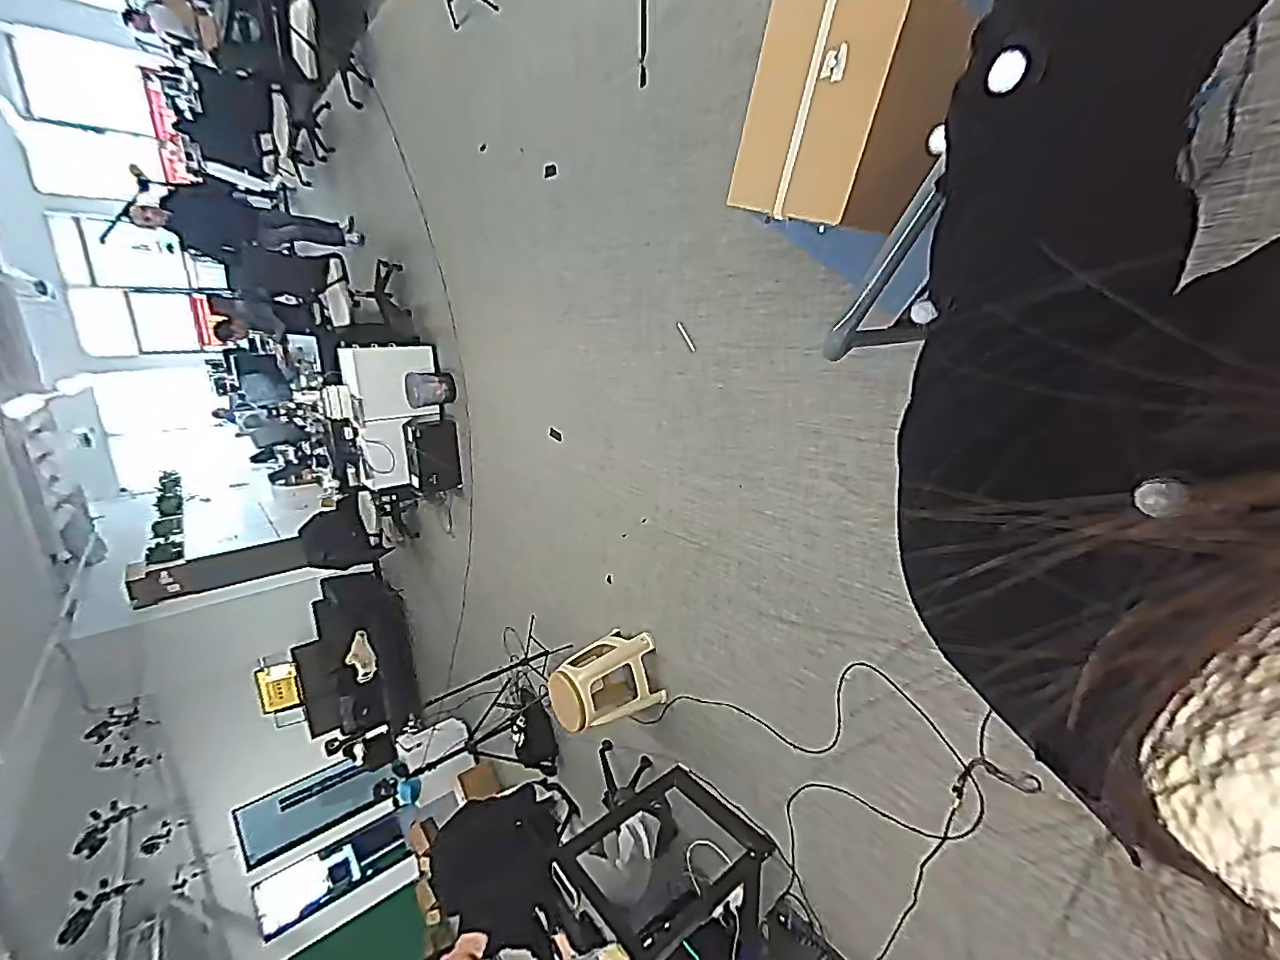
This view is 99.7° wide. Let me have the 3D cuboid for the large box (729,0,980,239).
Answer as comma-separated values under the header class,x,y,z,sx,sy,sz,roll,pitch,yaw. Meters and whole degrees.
class,x,y,z,sx,sy,sz,roll,pitch,yaw
large box,0.446,-0.774,1.174,0.320,0.320,0.408,36,126,39
